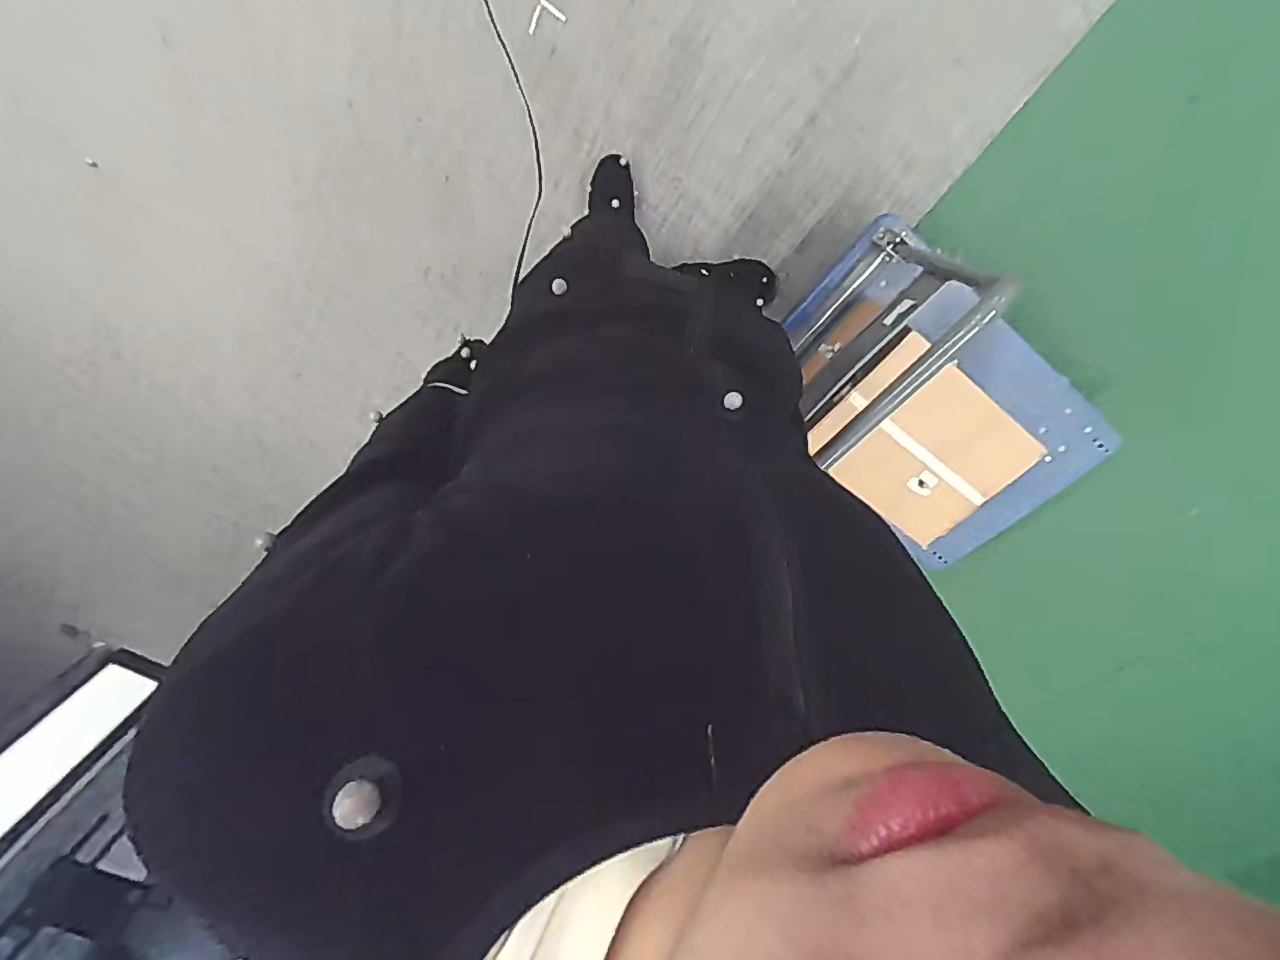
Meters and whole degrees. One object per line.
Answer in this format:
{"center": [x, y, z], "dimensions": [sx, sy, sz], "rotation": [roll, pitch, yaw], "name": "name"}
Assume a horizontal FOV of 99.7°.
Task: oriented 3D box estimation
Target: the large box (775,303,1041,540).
{"center": [0.580, -0.143, 1.249], "dimensions": [0.408, 0.320, 0.320], "rotation": [35, 118, -13], "name": "large box"}
